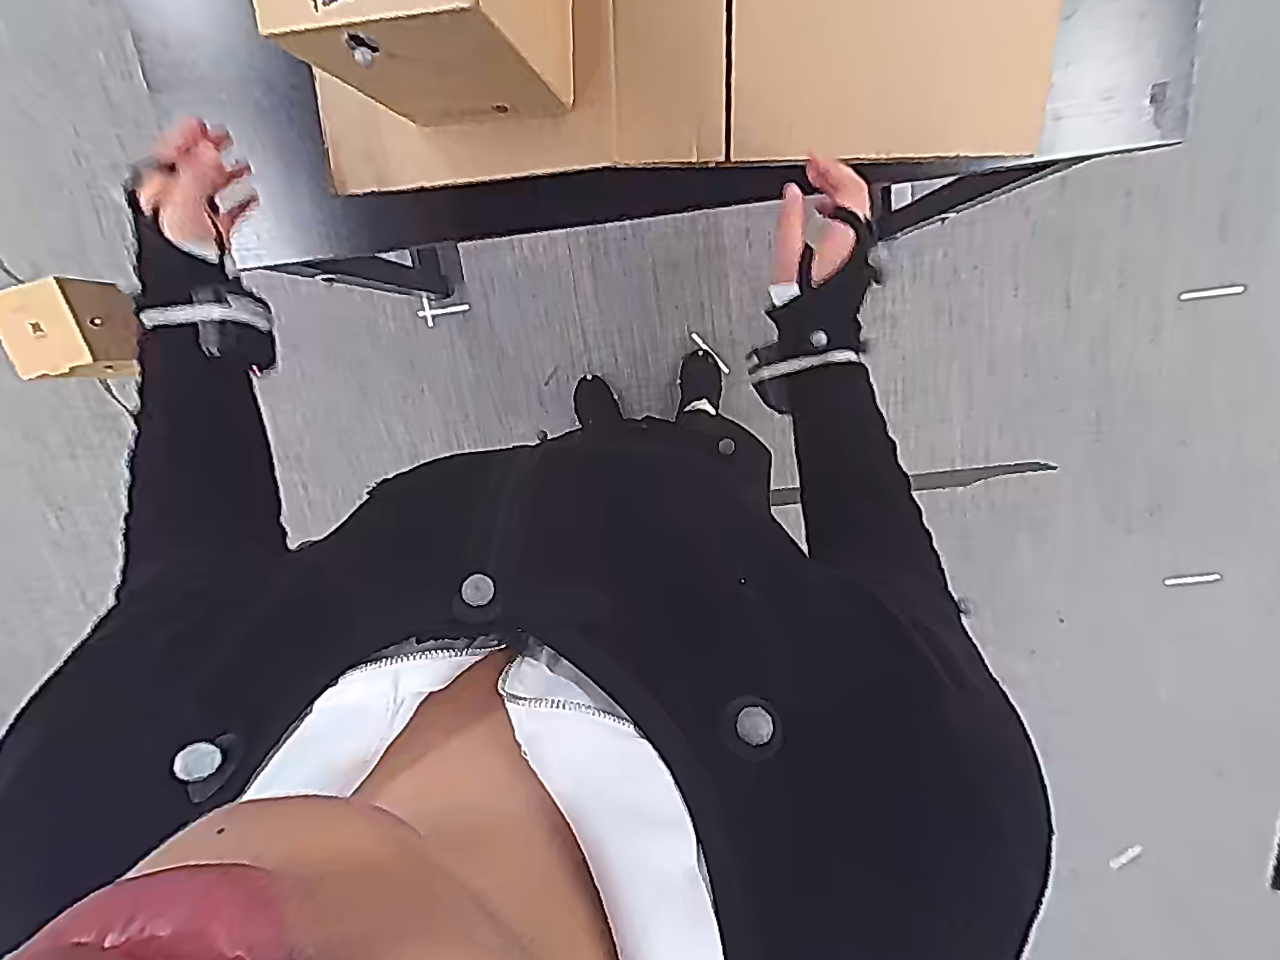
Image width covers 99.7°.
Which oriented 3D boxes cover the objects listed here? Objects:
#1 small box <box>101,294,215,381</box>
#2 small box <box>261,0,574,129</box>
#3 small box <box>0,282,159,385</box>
[{"bbox_3d":[-1.216,-0.350,1.339,0.168,0.176,0.179,-11,104,3],"label":"small box"},{"bbox_3d":[-0.154,-0.398,0.408,0.168,0.176,0.179,4,104,13],"label":"small box"},{"bbox_3d":[-1.220,-0.317,1.180,0.168,0.176,0.179,-14,102,3],"label":"small box"}]
